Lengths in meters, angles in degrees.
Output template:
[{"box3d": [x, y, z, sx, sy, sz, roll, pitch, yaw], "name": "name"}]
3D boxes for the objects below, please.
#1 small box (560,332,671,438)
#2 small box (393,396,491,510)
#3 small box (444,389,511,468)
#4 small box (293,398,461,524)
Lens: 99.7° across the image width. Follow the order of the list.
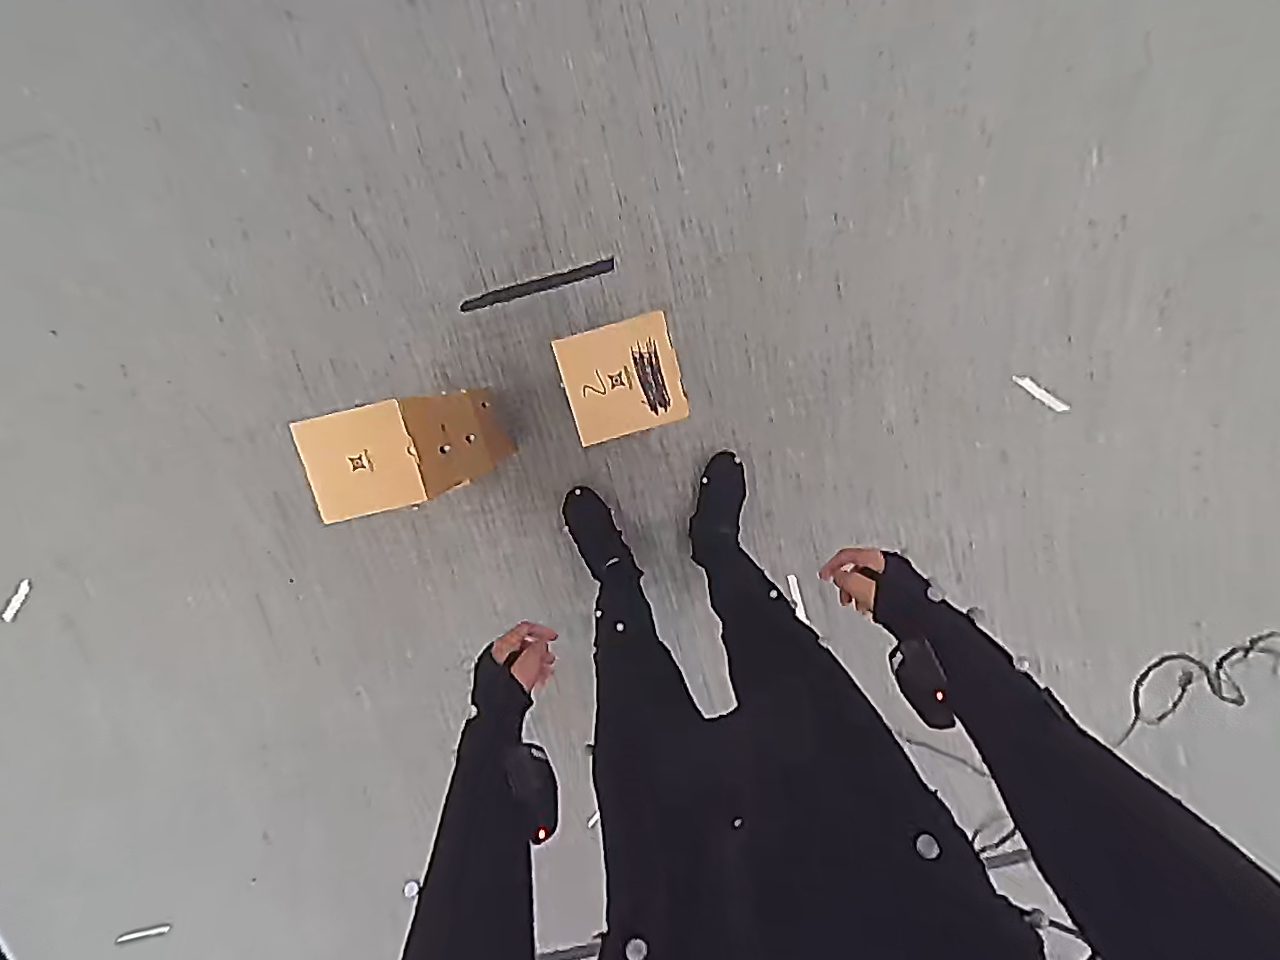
[{"box3d": [-0.047, -0.185, 1.056, 0.179, 0.176, 0.168, -12, 100, 0], "name": "small box"}, {"box3d": [-0.417, -0.061, 1.072, 0.168, 0.176, 0.179, -18, 101, 3], "name": "small box"}, {"box3d": [-0.414, -0.098, 1.232, 0.168, 0.176, 0.179, -20, 100, 3], "name": "small box"}, {"box3d": [-0.429, -0.039, 0.911, 0.179, 0.176, 0.168, -13, 100, 2], "name": "small box"}]
